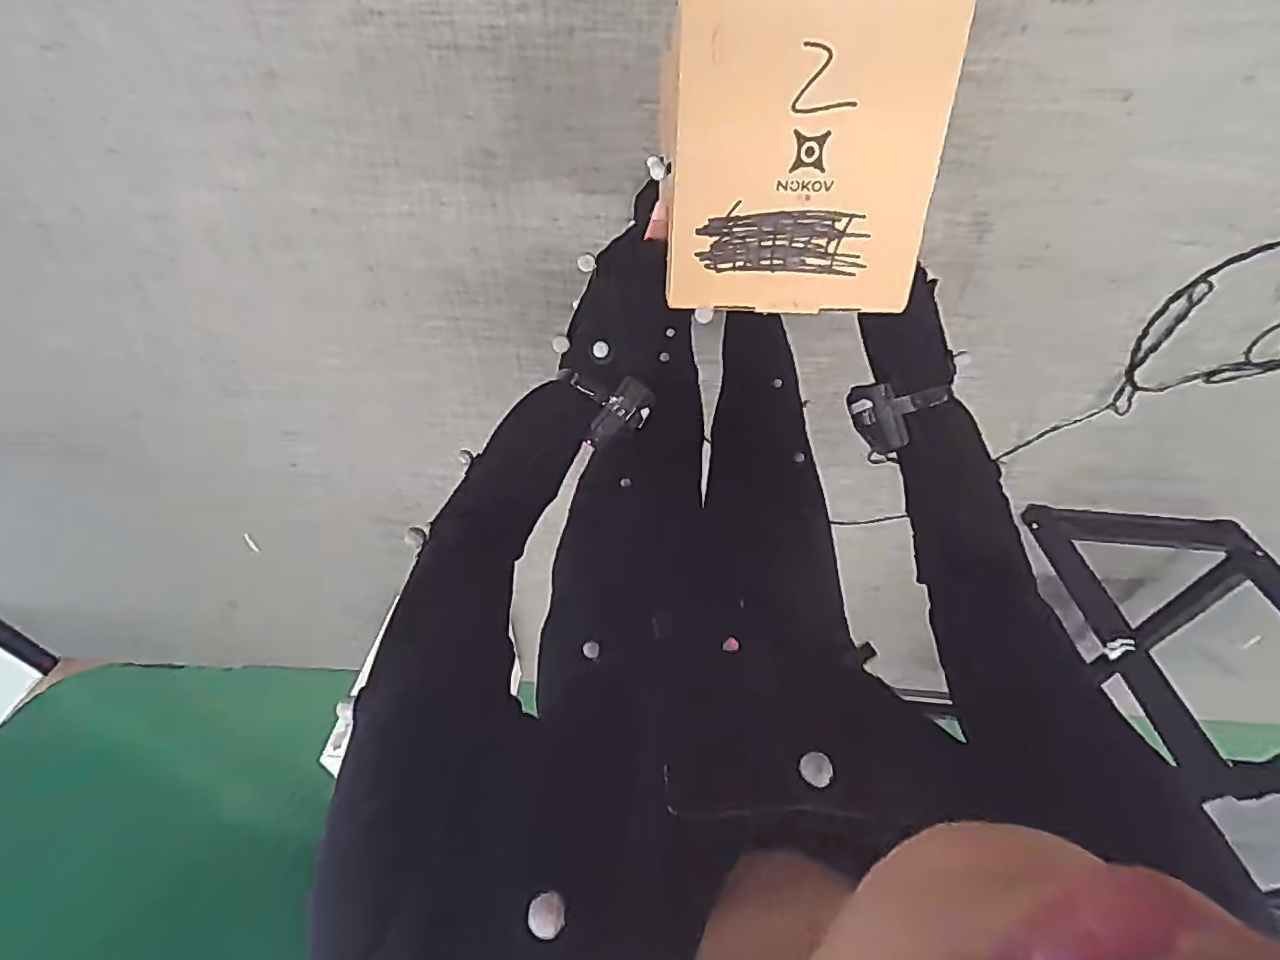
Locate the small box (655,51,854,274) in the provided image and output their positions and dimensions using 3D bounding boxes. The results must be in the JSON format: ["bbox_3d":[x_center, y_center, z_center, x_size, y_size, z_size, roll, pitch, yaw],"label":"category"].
[{"bbox_3d":[0.101,-0.311,0.561,0.168,0.176,0.179,0,115,1],"label":"small box"}]
